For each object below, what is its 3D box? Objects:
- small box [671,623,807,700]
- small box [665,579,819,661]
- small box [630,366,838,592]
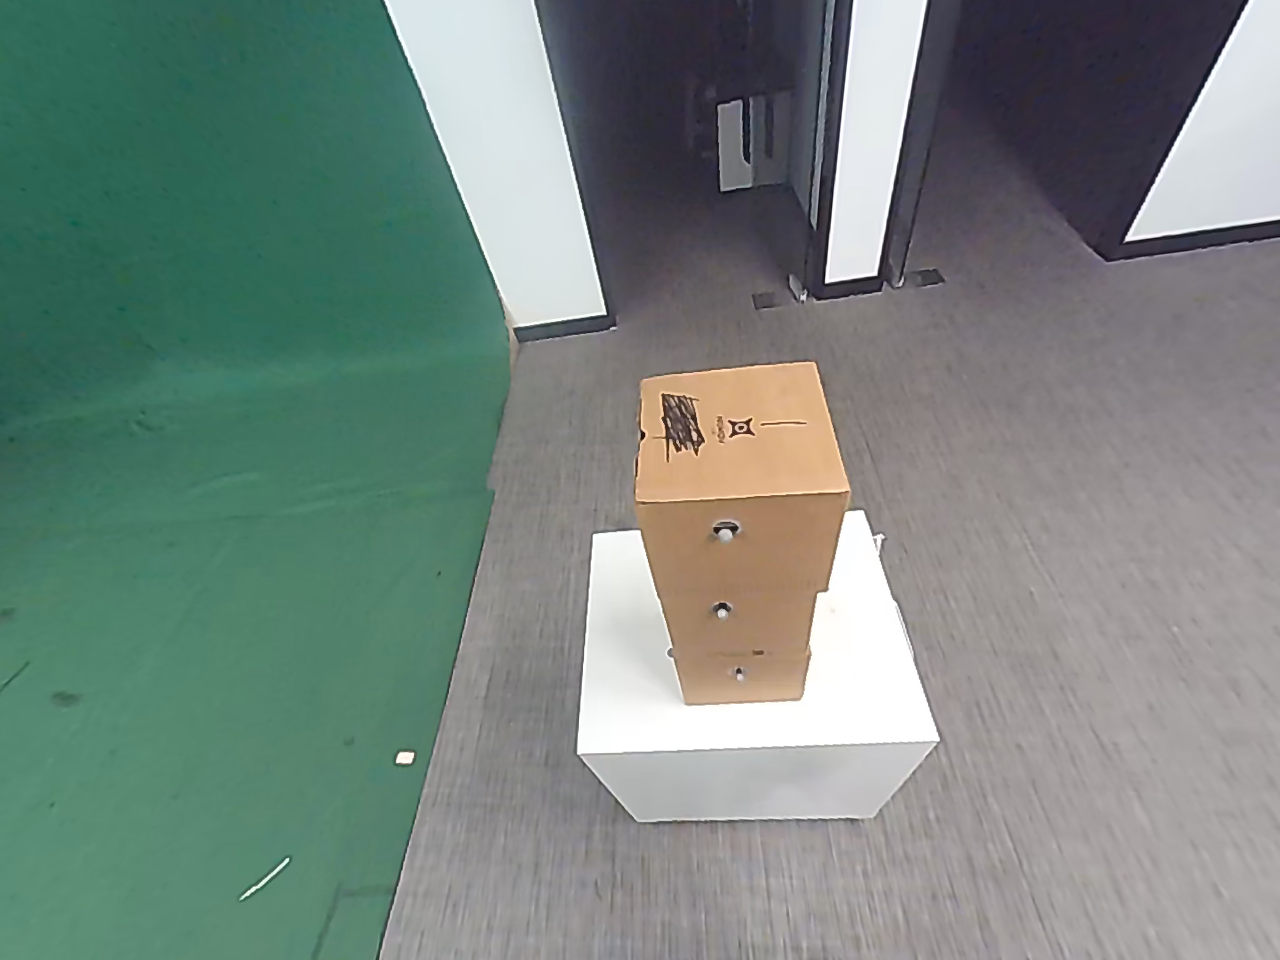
[{"bbox_3d":[0.141,0.217,0.806,0.179,0.176,0.168,-5,49,6],"label":"small box"},{"bbox_3d":[0.118,0.110,0.688,0.168,0.176,0.179,-6,49,6],"label":"small box"},{"bbox_3d":[0.094,0.006,0.560,0.179,0.176,0.168,-4,49,8],"label":"small box"}]
